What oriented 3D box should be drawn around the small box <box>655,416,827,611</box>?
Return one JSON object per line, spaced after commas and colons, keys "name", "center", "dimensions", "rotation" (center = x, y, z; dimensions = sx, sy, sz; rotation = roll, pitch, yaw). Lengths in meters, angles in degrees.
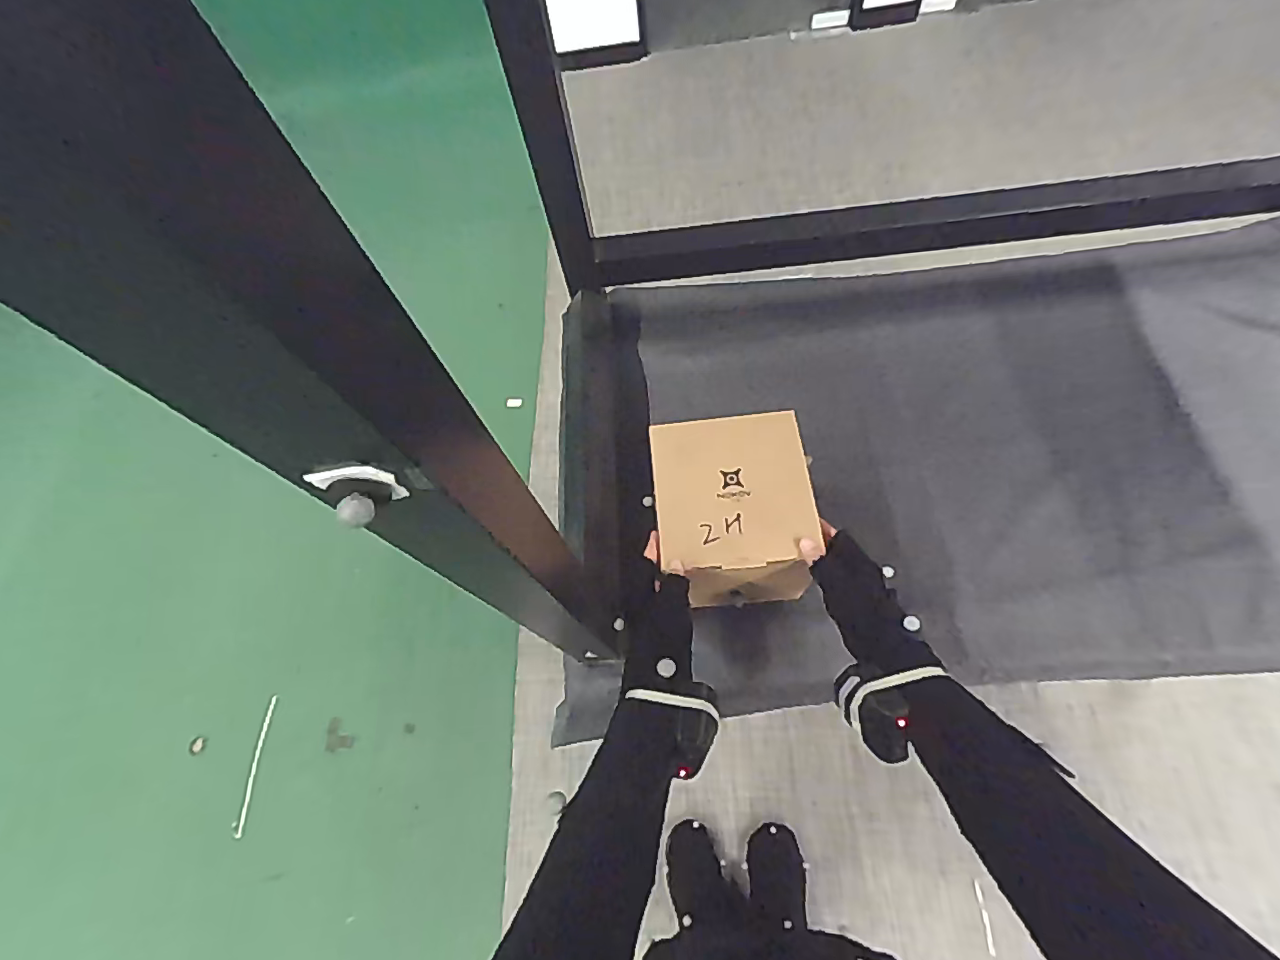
{"name": "small box", "center": [0.108, 0.047, 0.647], "dimensions": [0.168, 0.176, 0.179], "rotation": [-6, 64, 4]}
